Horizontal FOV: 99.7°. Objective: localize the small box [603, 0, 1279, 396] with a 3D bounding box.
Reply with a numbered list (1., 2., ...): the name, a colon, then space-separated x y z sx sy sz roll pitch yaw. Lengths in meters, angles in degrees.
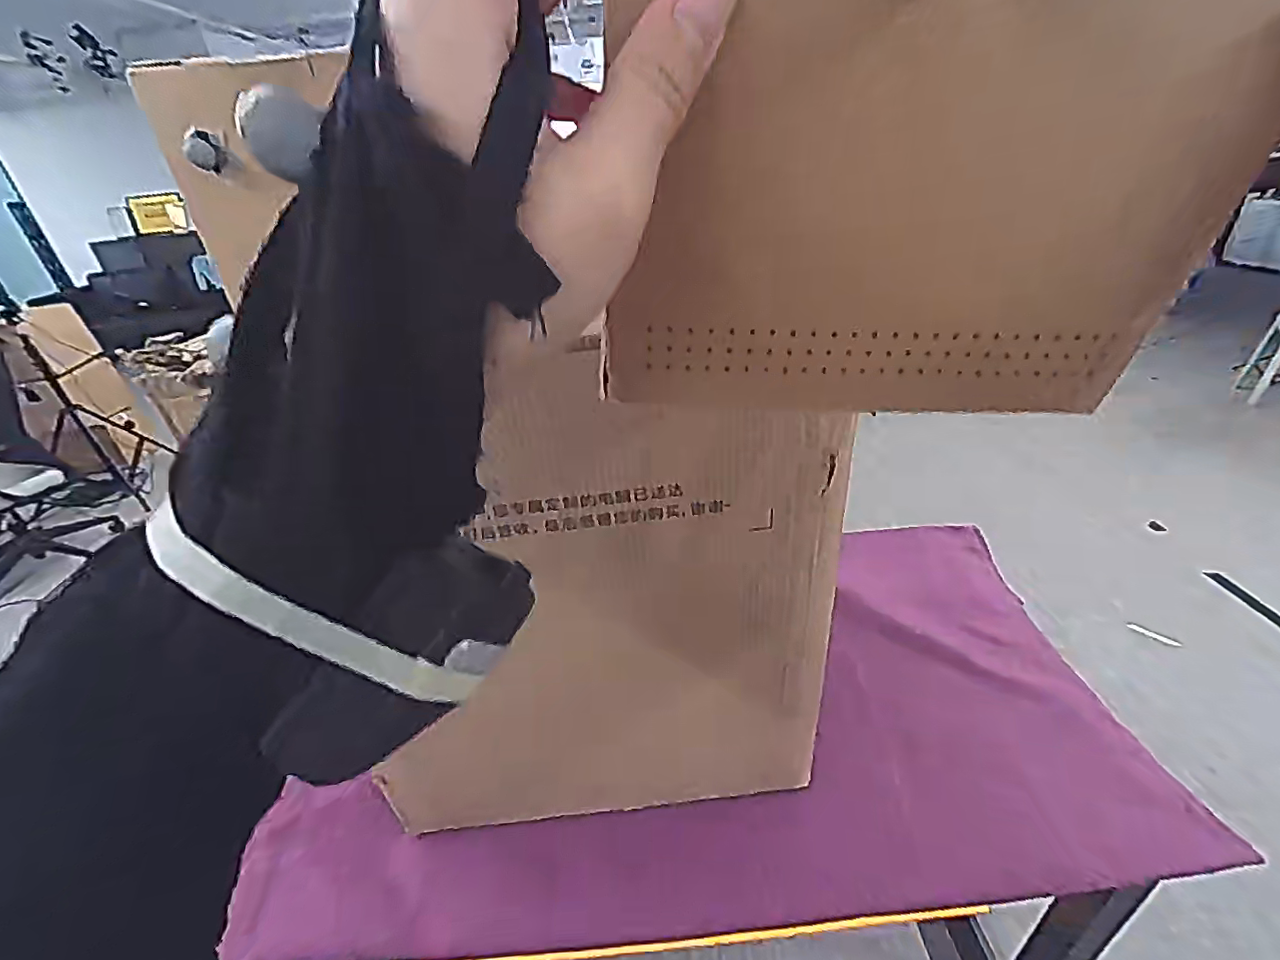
1. small box: 0.078 -0.142 0.198 0.179 0.176 0.168 0 40 -1
